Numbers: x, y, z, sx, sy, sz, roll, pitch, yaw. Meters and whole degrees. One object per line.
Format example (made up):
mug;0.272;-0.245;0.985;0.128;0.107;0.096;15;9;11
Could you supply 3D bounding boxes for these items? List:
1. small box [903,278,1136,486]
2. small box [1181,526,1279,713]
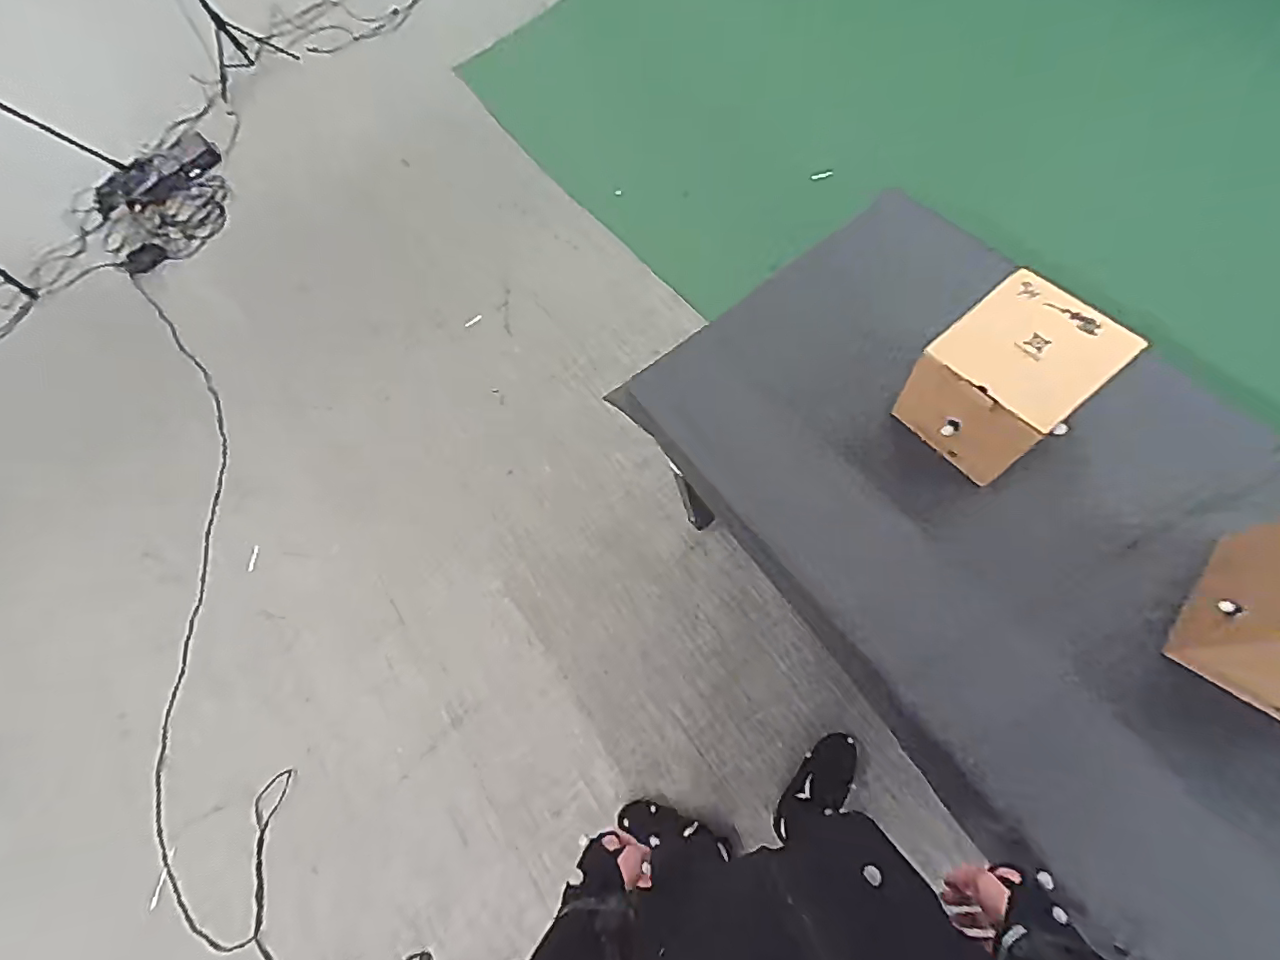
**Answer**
small box;0.482;-0.122;0.724;0.179;0.176;0.168;-41;65;-7
small box;0.720;0.152;0.545;0.168;0.176;0.179;37;79;19
